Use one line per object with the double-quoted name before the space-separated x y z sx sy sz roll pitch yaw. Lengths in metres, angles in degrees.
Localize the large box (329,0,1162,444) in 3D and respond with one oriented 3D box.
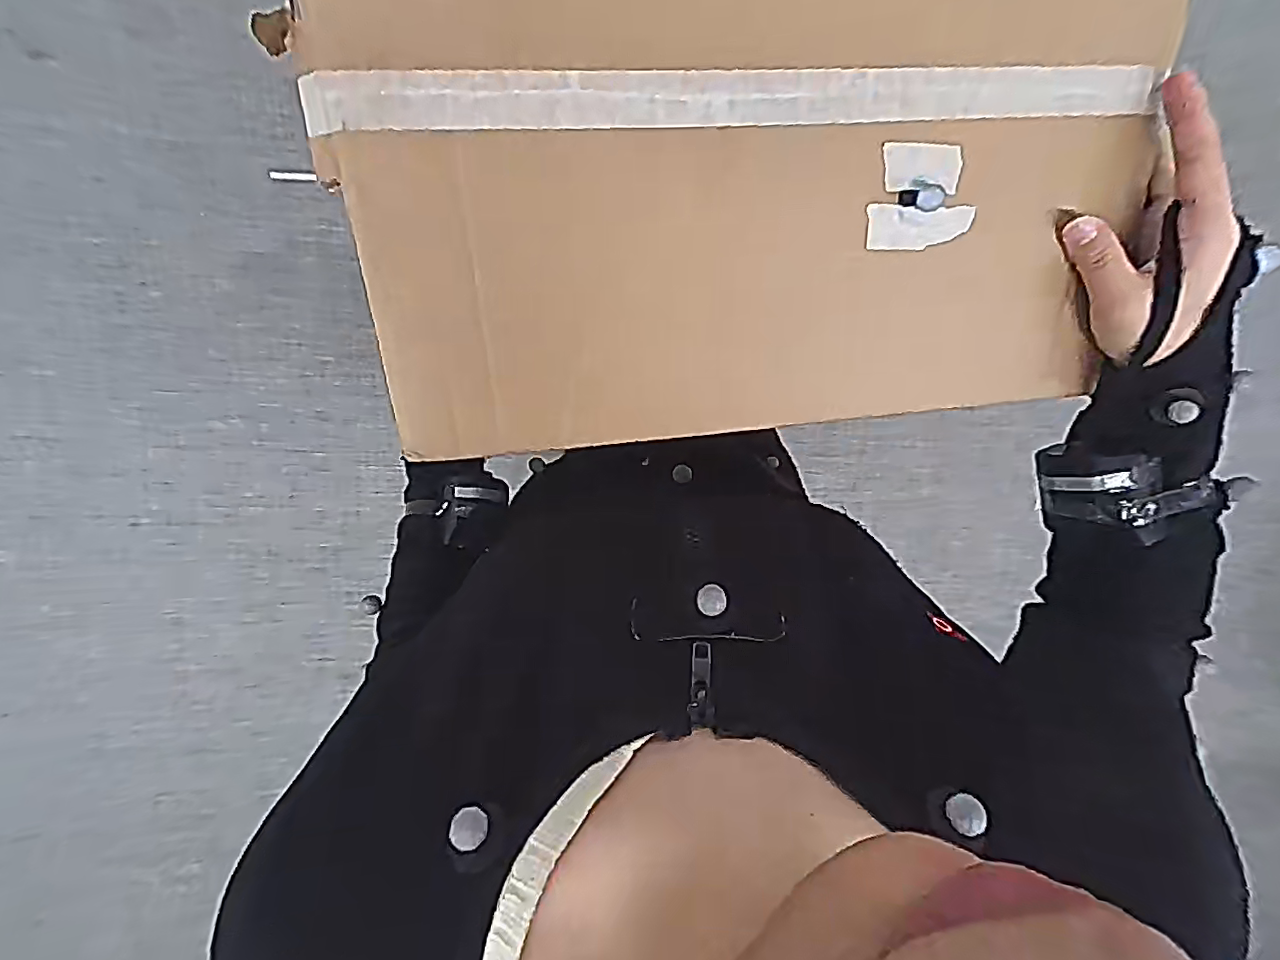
"large box" 0.041 -0.235 0.395 0.408 0.320 0.320 -7 112 -10
